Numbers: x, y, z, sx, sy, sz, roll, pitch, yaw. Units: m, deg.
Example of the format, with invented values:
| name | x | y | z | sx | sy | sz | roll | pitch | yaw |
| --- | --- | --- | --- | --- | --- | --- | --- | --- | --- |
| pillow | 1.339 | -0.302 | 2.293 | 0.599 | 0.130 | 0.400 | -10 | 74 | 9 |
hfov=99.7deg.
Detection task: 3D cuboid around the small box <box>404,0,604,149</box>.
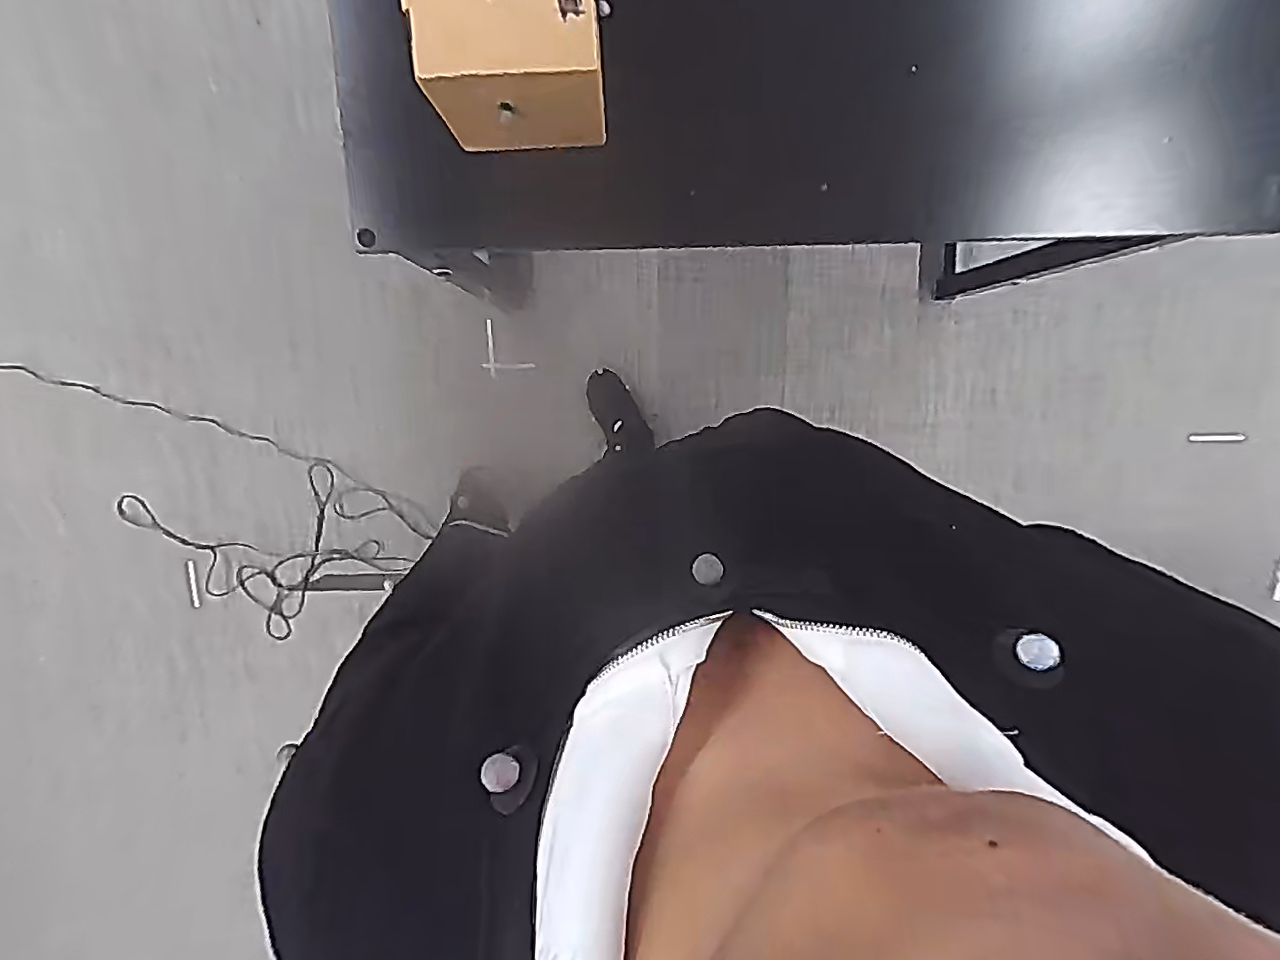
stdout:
| name | x | y | z | sx | sy | sz | roll | pitch | yaw |
| --- | --- | --- | --- | --- | --- | --- | --- | --- | --- |
| small box | -0.135 | -0.479 | 0.580 | 0.179 | 0.176 | 0.168 | -4 | 100 | 0 |
